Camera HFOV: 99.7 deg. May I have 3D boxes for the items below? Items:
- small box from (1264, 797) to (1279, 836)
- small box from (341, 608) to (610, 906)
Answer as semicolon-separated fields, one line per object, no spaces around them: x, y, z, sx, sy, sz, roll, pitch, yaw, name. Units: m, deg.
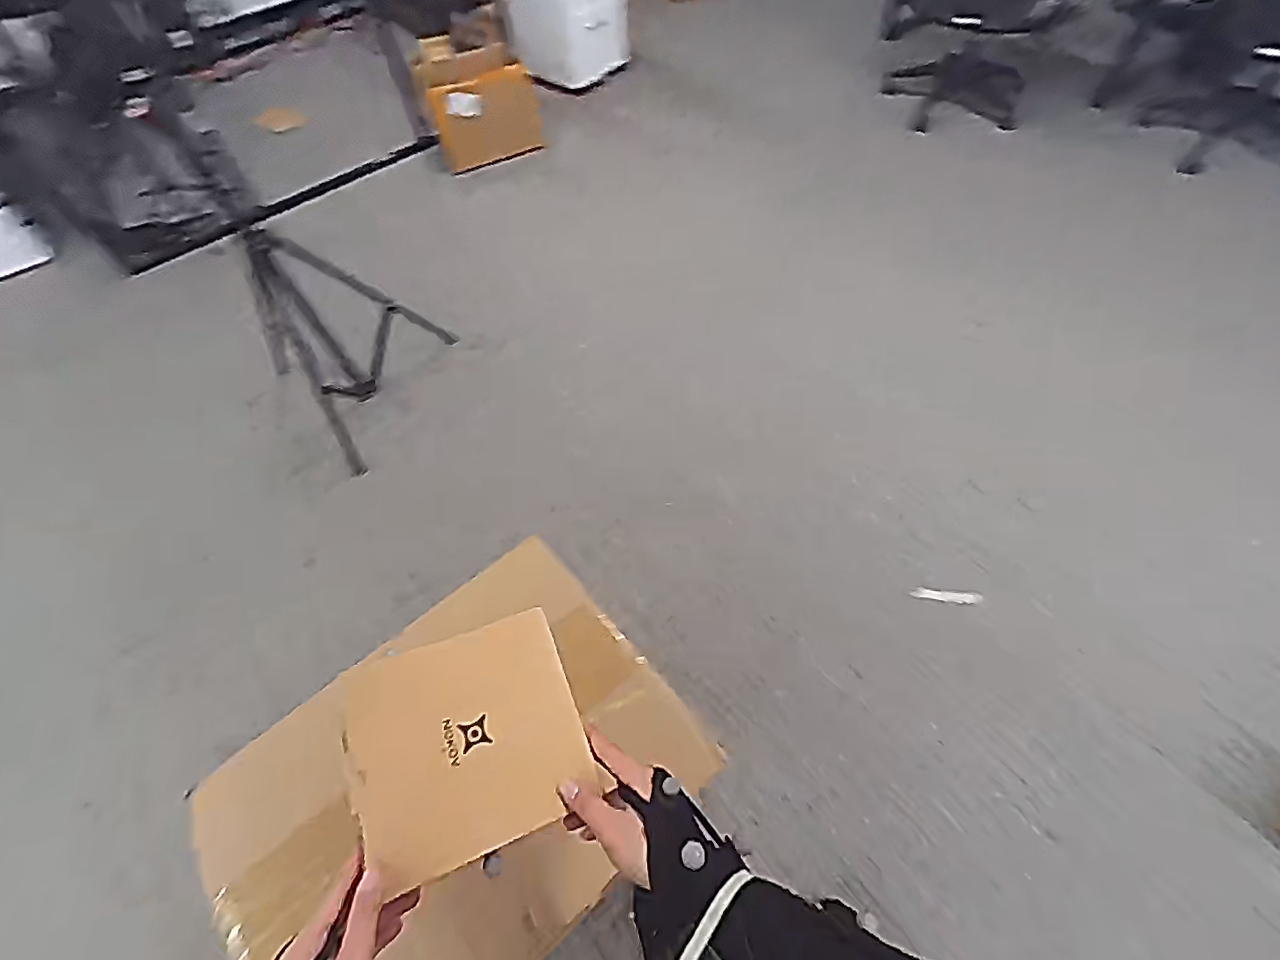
1.323;0.637;0.976;0.168;0.176;0.179;-33;60;-15;small box
-0.145;0.238;0.492;0.179;0.176;0.168;-15;66;-19;small box
